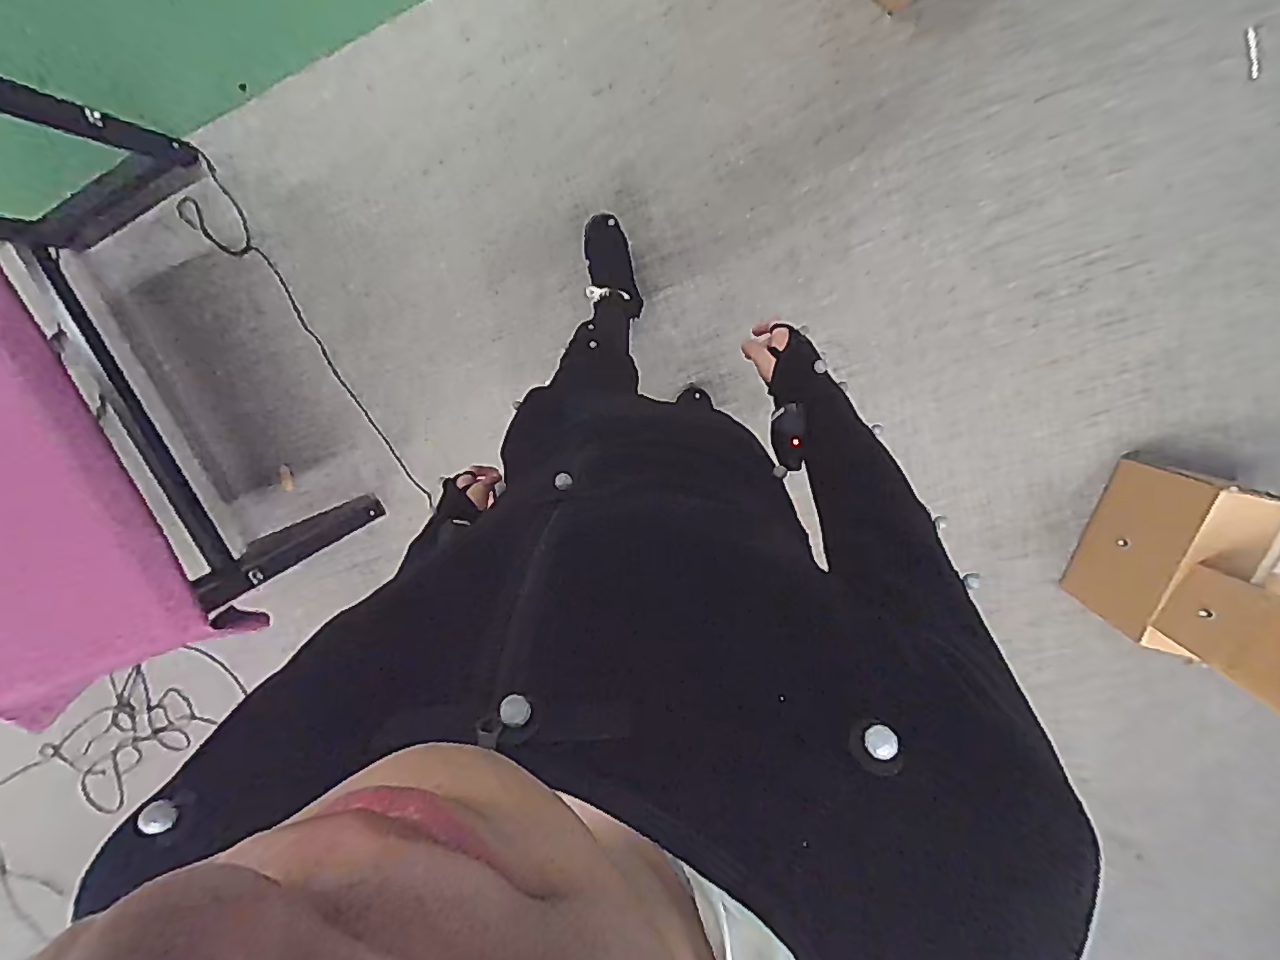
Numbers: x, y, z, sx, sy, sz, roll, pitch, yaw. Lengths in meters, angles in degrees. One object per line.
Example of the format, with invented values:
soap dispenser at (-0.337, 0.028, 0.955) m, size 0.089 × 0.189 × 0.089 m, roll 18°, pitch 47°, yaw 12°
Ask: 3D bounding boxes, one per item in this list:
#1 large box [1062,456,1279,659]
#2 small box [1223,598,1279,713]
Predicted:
large box at (1.380, 0.188, 1.363) m, size 0.320 × 0.320 × 0.408 m, roll 12°, pitch 106°, yaw 2°
small box at (1.261, 0.350, 0.997) m, size 0.168 × 0.176 × 0.179 m, roll 16°, pitch 106°, yaw 3°
